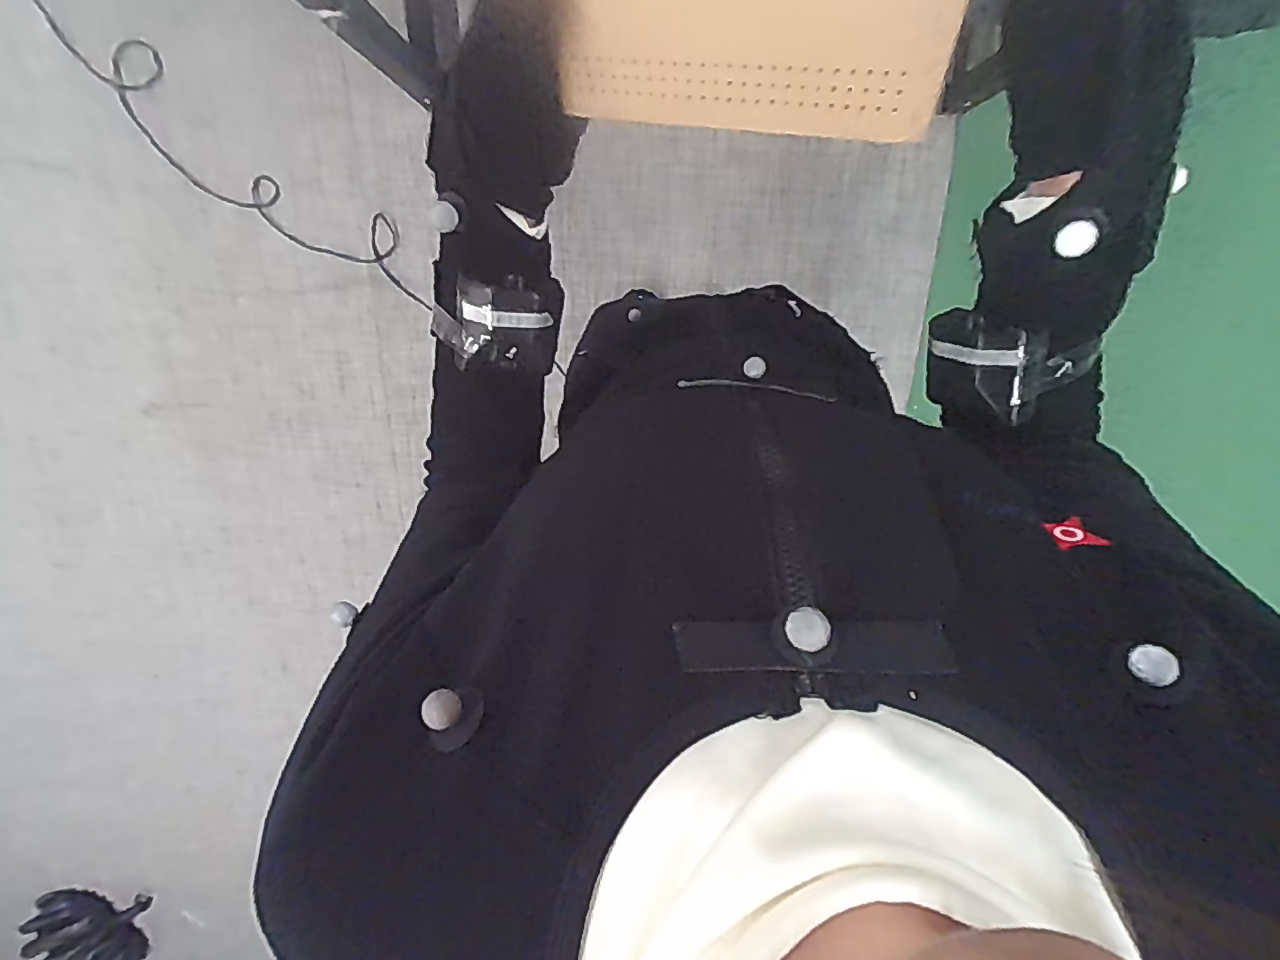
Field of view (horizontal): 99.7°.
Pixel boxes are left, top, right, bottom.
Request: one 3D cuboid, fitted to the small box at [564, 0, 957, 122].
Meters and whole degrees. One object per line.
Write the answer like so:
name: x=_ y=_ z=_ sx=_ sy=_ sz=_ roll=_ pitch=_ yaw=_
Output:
small box: x=0.064 y=-0.285 z=0.235 sx=0.179 sy=0.168 sz=0.176 roll=16 pitch=152 yaw=17
